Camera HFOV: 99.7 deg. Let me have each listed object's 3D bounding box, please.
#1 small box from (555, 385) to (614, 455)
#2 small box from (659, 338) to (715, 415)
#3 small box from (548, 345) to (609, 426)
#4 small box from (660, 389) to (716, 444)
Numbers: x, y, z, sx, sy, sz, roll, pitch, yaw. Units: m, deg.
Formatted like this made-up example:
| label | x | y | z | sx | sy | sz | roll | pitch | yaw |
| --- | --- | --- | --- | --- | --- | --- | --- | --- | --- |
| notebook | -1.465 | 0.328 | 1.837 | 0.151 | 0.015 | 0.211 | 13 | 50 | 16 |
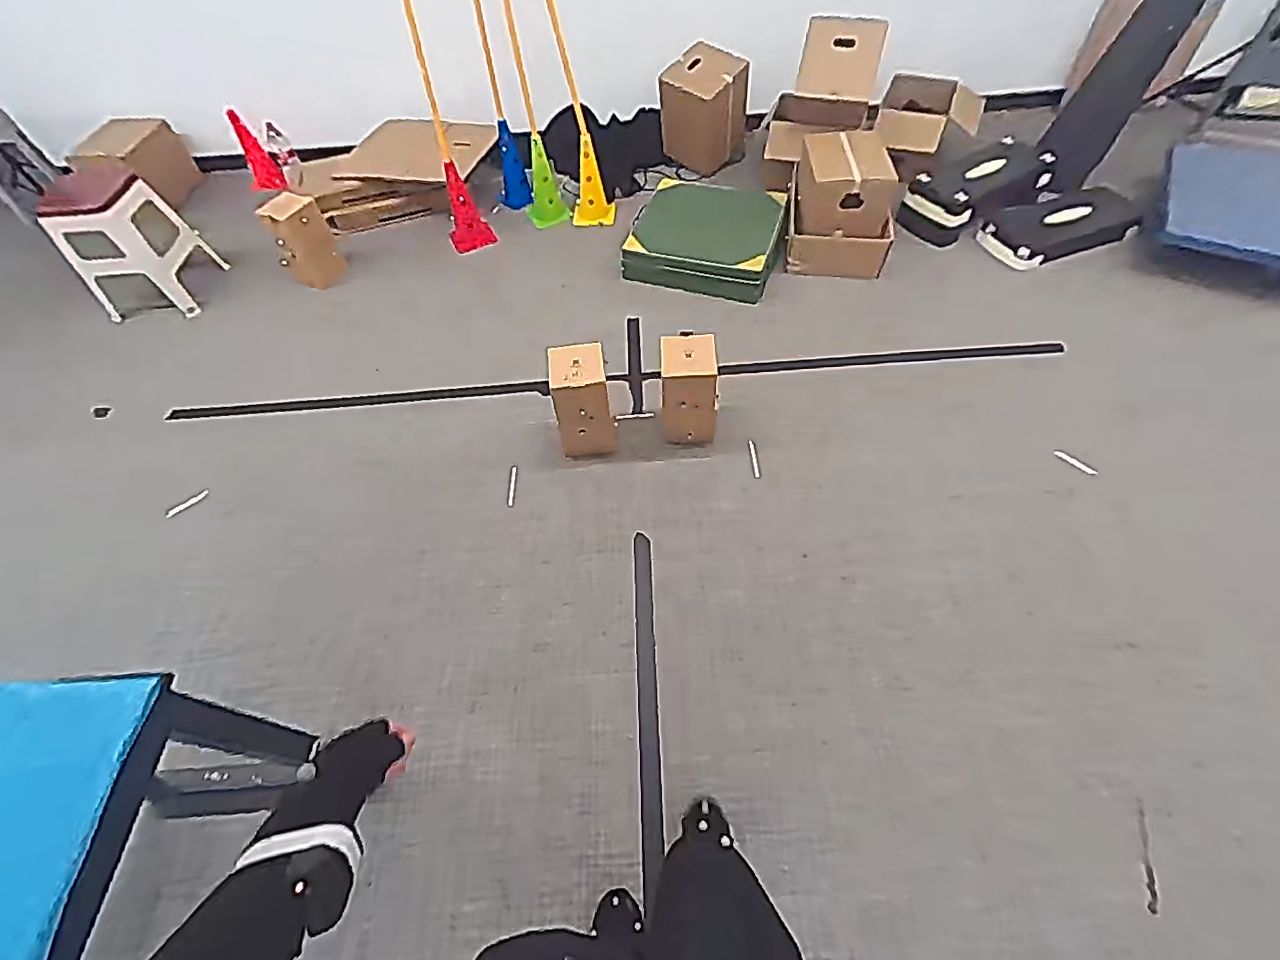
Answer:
| label | x | y | z | sx | sy | sz | roll | pitch | yaw |
| --- | --- | --- | --- | --- | --- | --- | --- | --- | --- |
| small box | -0.184 | -0.196 | 1.816 | 0.179 | 0.176 | 0.168 | -5 | 56 | -2 |
| small box | 0.143 | -0.323 | 1.692 | 0.168 | 0.176 | 0.179 | -1 | 57 | 3 |
| small box | -0.190 | -0.293 | 1.683 | 0.168 | 0.176 | 0.179 | -7 | 56 | -1 |
| small box | 0.158 | -0.235 | 1.828 | 0.179 | 0.176 | 0.168 | 0 | 55 | 1 |
